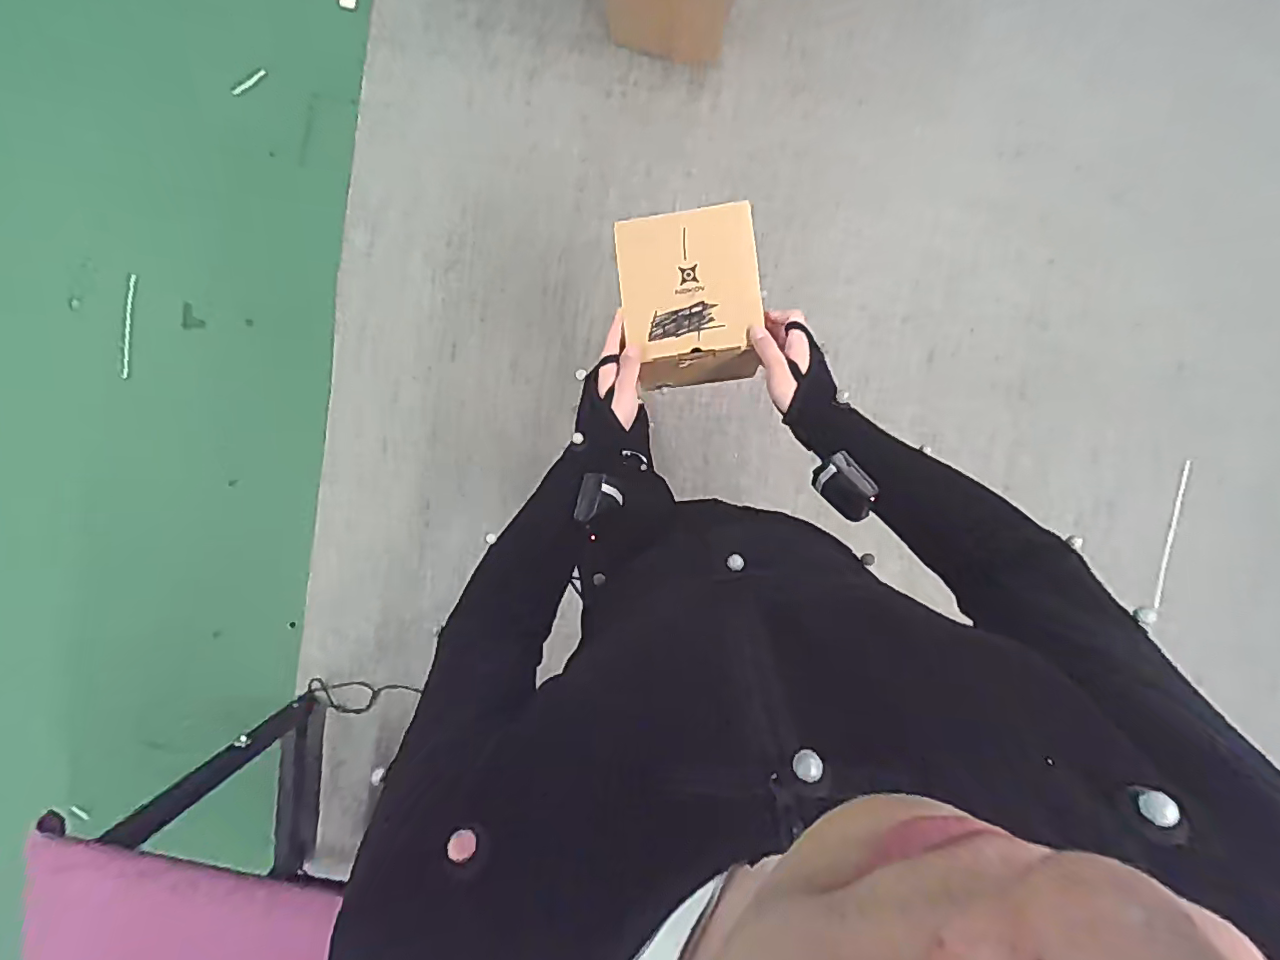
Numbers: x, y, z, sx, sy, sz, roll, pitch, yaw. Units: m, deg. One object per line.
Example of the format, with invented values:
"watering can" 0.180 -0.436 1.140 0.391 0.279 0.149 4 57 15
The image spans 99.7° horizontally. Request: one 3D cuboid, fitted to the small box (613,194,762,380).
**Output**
"small box" 0.065 -0.236 0.711 0.168 0.176 0.179 -6 86 6
